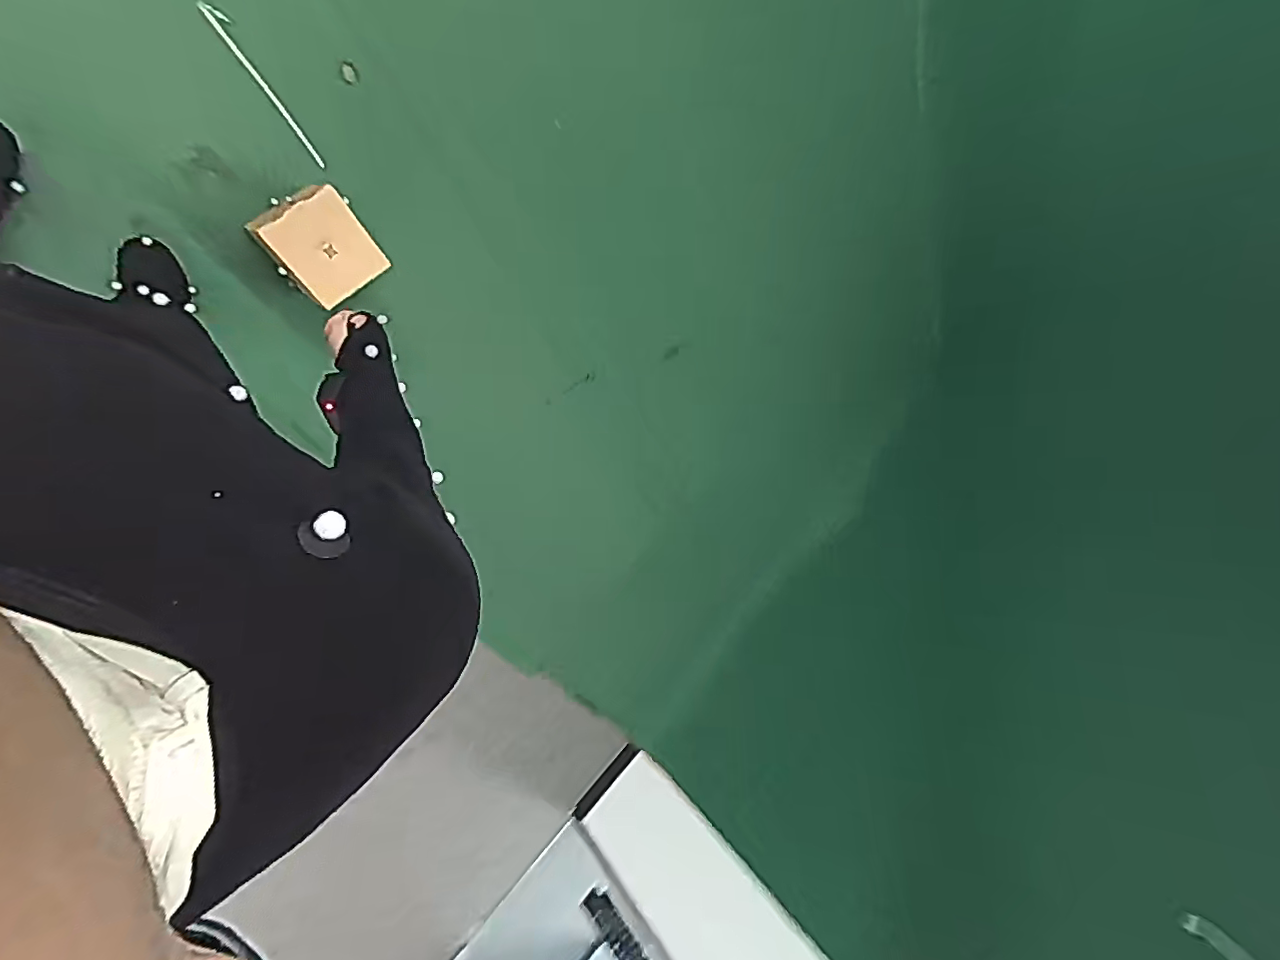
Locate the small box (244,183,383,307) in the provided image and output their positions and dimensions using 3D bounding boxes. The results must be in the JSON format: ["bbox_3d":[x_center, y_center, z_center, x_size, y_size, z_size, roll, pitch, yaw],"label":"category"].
[{"bbox_3d":[-0.676,-0.490,1.119,0.168,0.176,0.179,-43,132,-15],"label":"small box"}]

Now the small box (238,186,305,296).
[{"bbox_3d":[-0.772,-0.551,1.235,0.168,0.176,0.179,-43,133,-16],"label":"small box"}]
